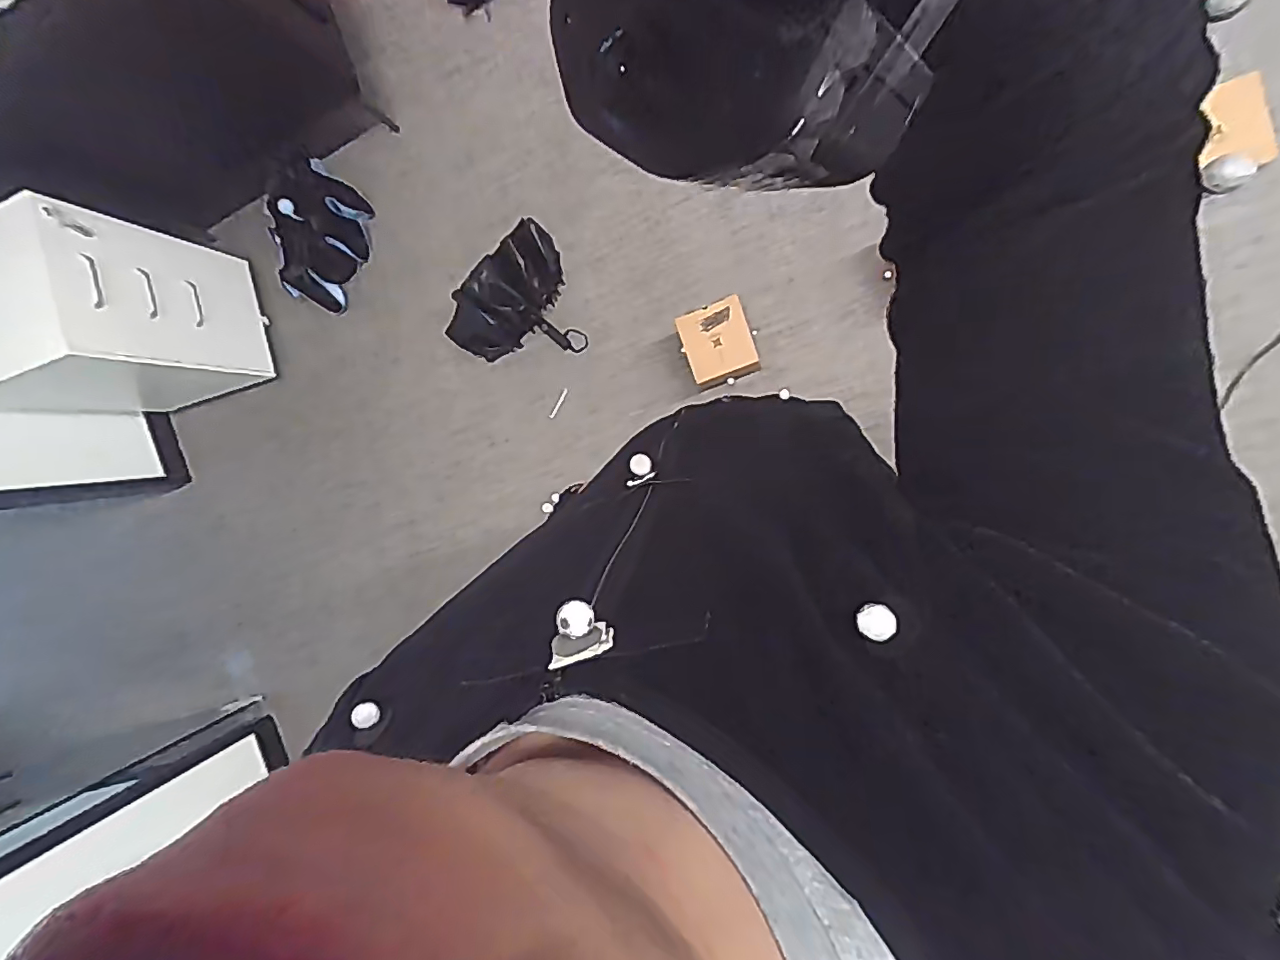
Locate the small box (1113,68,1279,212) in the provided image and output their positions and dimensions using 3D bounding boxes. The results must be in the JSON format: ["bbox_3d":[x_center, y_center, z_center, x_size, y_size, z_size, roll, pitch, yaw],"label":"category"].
[{"bbox_3d":[1.145,-0.689,1.127,0.168,0.176,0.179,-17,90,16],"label":"small box"}]

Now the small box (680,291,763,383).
[{"bbox_3d":[0.219,-0.368,1.422,0.168,0.176,0.179,-18,92,17],"label":"small box"}]
